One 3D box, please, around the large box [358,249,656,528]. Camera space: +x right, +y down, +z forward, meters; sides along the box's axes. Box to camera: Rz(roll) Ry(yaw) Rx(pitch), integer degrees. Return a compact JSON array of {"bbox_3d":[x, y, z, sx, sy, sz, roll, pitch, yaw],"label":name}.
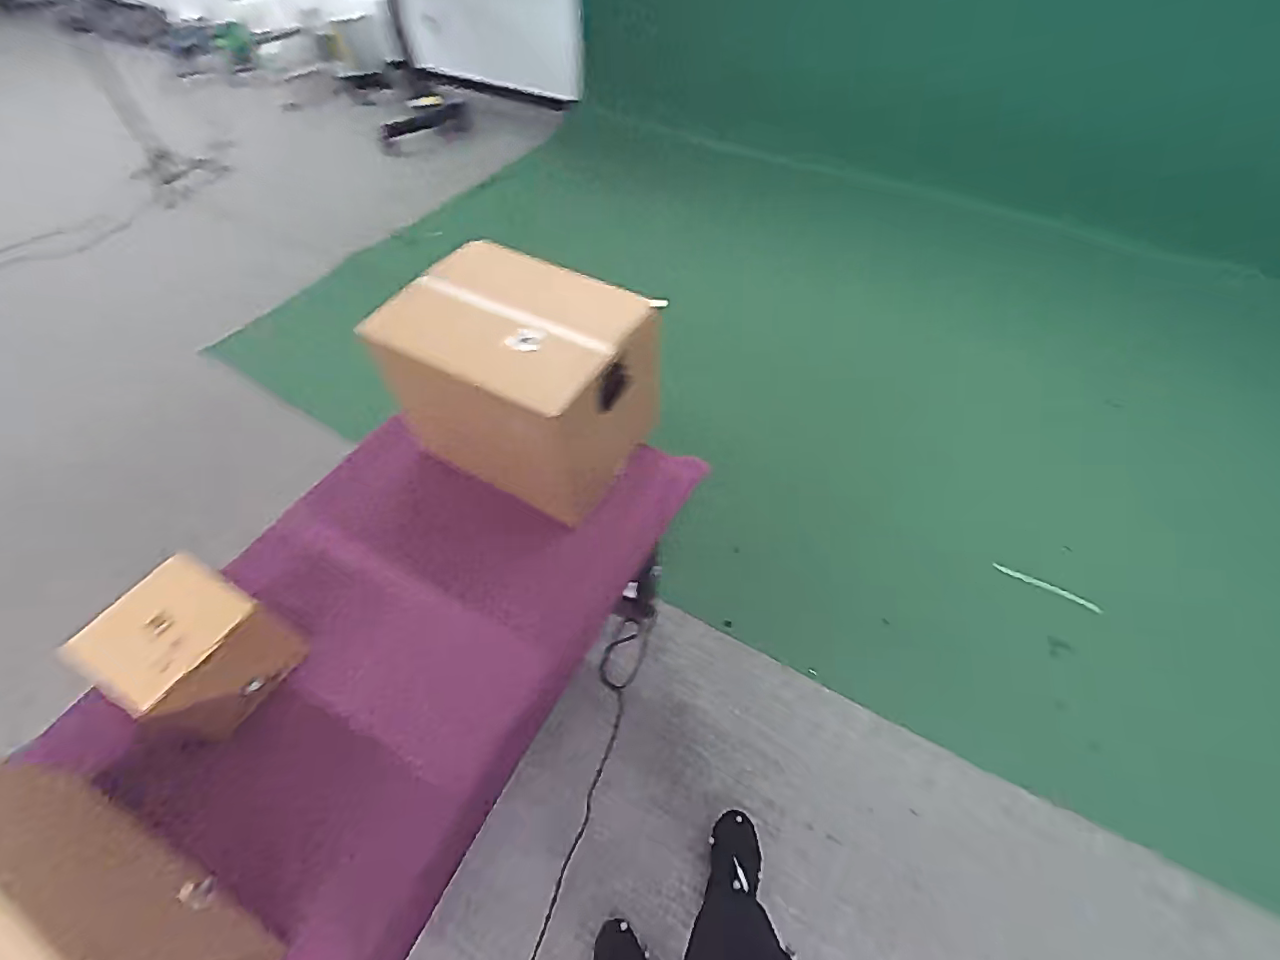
[{"bbox_3d":[-0.220,-0.175,1.025,0.408,0.320,0.320,25,58,16],"label":"large box"}]
